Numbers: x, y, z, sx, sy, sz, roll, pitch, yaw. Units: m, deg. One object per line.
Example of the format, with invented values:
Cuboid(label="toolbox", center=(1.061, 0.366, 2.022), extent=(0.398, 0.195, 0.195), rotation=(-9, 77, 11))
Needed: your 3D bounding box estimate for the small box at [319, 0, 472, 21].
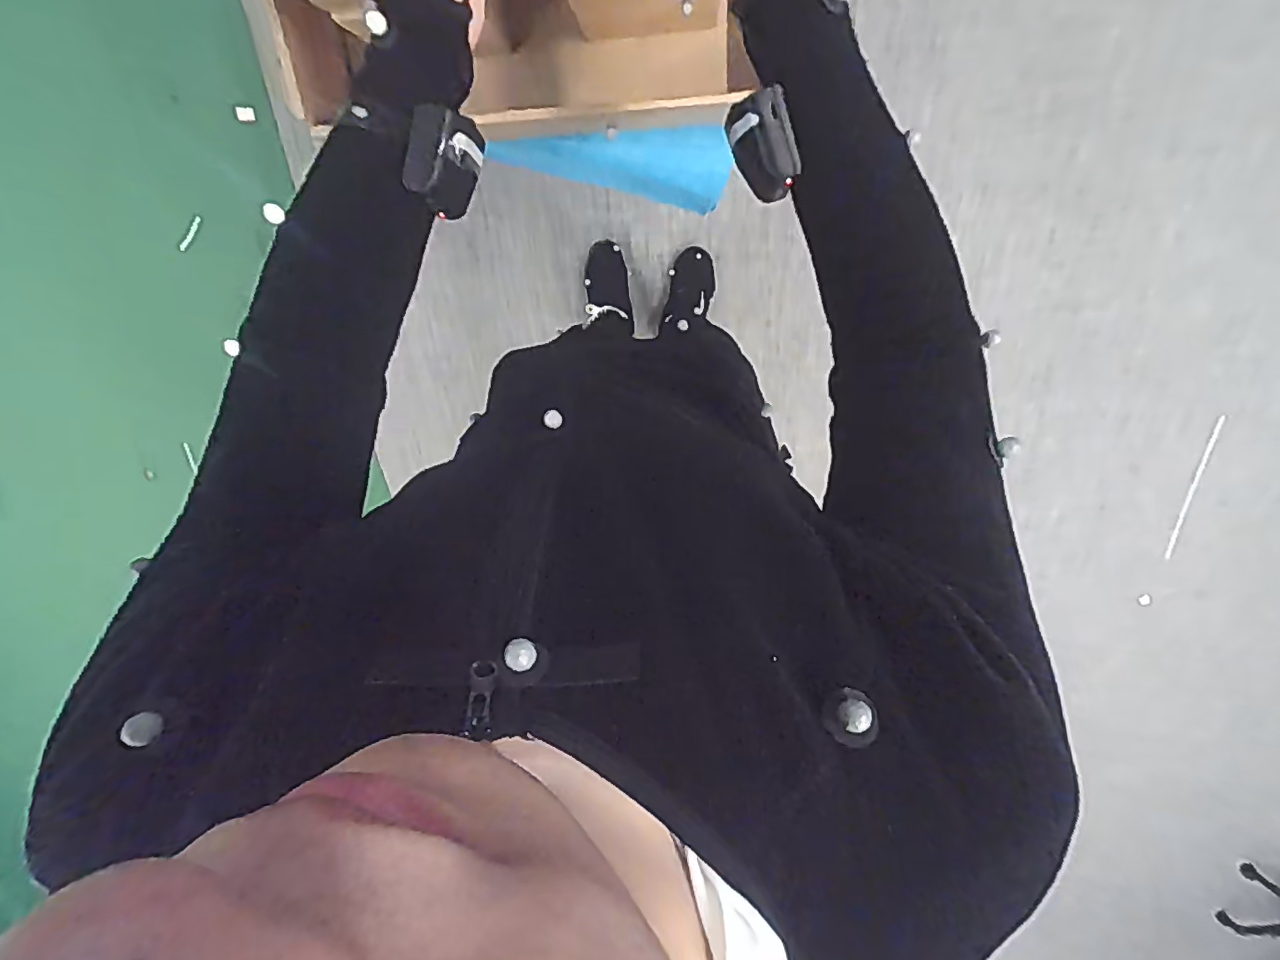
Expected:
Cuboid(label="small box", center=(-0.268, -0.561, 0.490), extent=(0.168, 0.176, 0.179), rotation=(-2, 114, 5))

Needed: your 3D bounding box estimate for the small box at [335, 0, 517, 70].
Cuboid(label="small box", center=(-0.255, -0.622, 0.640), extent=(0.168, 0.176, 0.179), rotation=(-1, 113, 5))
